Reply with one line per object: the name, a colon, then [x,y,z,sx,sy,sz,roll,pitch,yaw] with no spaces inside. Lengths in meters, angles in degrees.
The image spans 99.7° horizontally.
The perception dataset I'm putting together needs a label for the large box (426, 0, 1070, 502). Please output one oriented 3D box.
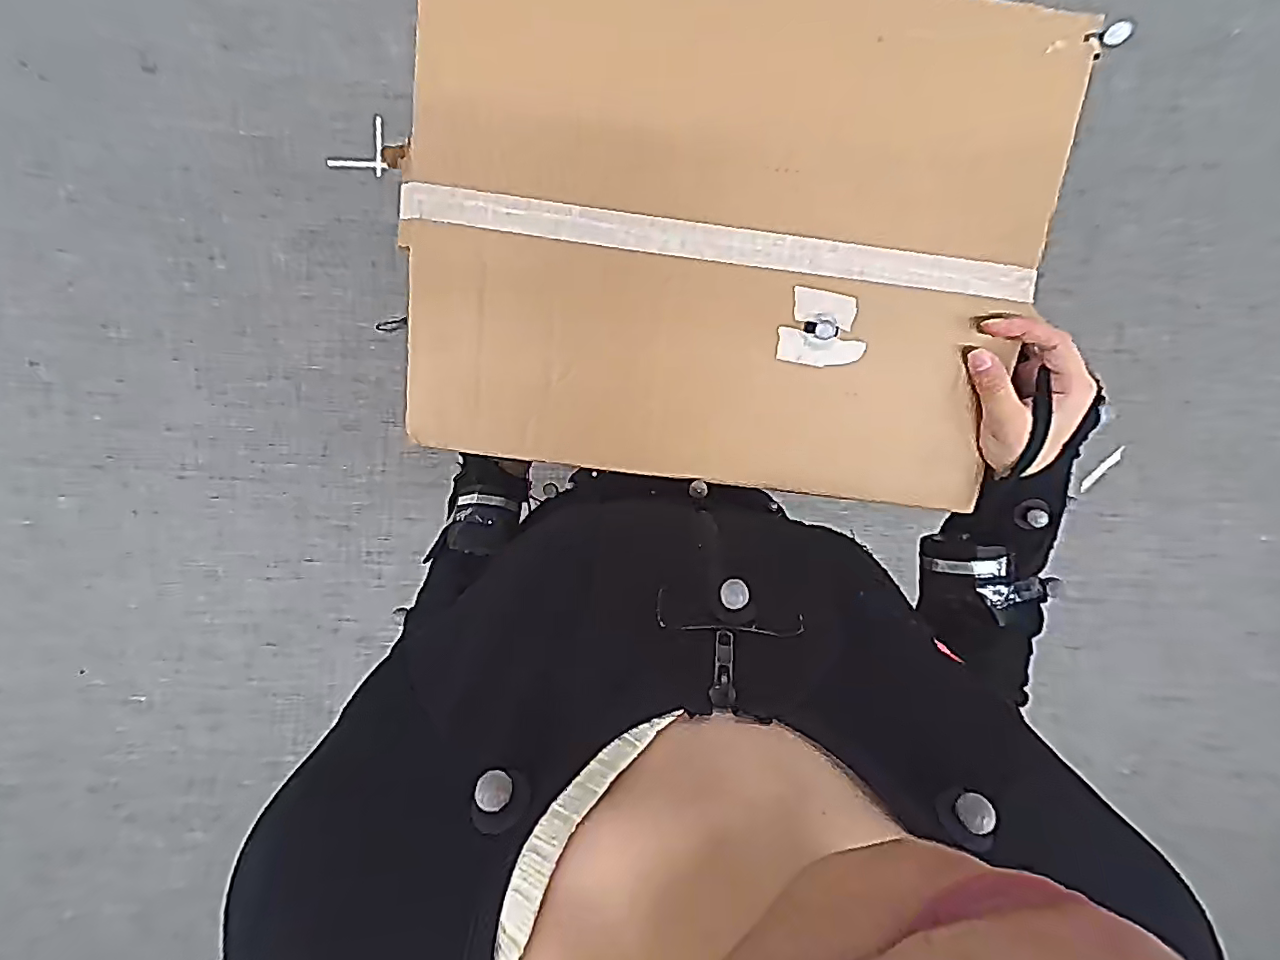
large box: [0.053,-0.180,0.504,0.408,0.320,0.320,6,103,-4]
